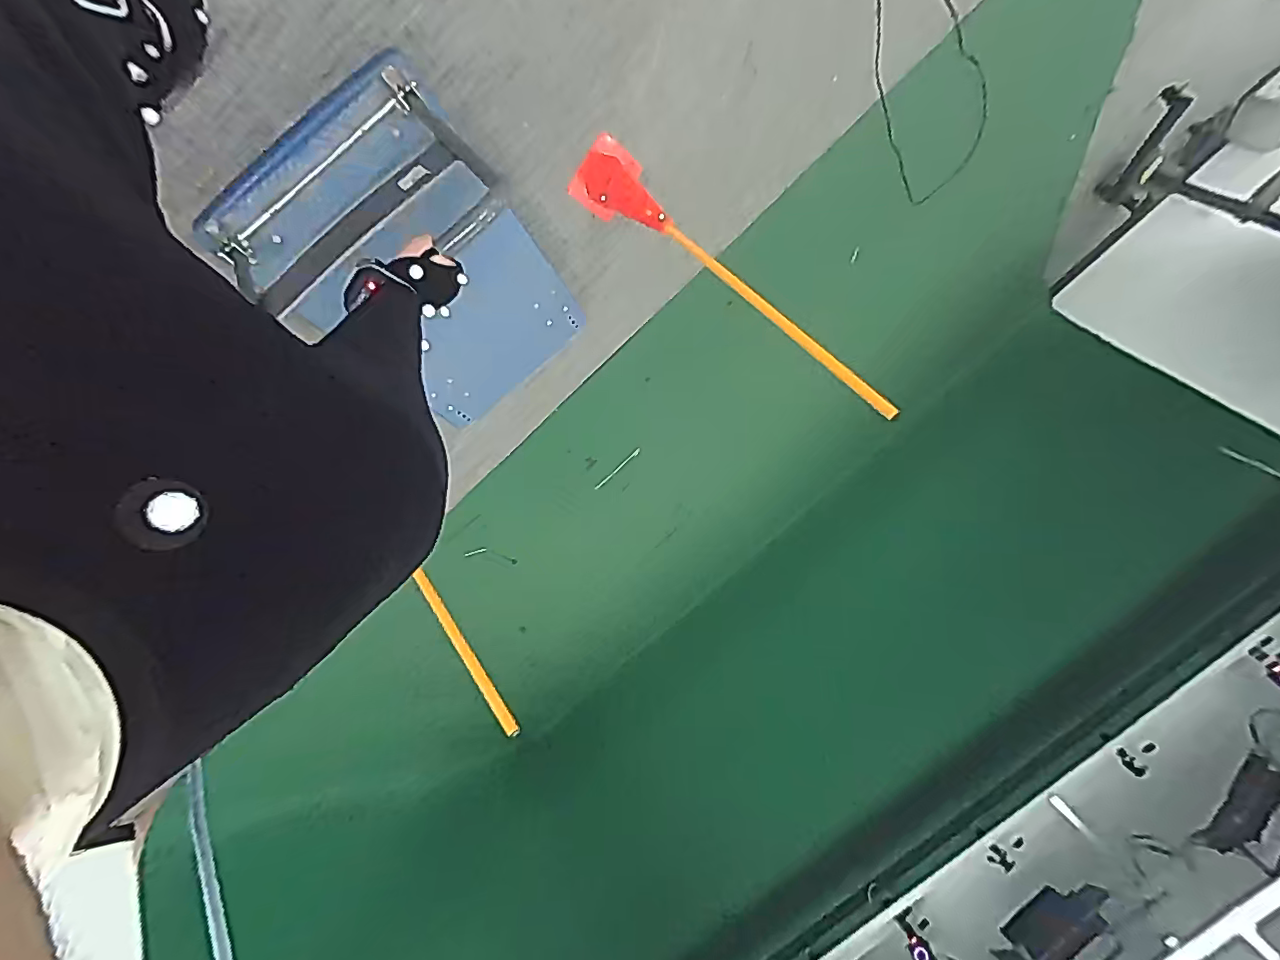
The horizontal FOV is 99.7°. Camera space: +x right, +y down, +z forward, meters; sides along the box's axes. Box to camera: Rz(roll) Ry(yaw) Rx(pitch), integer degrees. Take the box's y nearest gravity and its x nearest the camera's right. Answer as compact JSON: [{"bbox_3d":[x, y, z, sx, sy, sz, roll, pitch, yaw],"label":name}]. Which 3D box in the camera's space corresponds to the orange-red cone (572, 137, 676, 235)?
[{"bbox_3d":[-0.009,-0.822,1.602,0.199,0.360,0.198,-51,148,18],"label":"orange-red cone"}]
